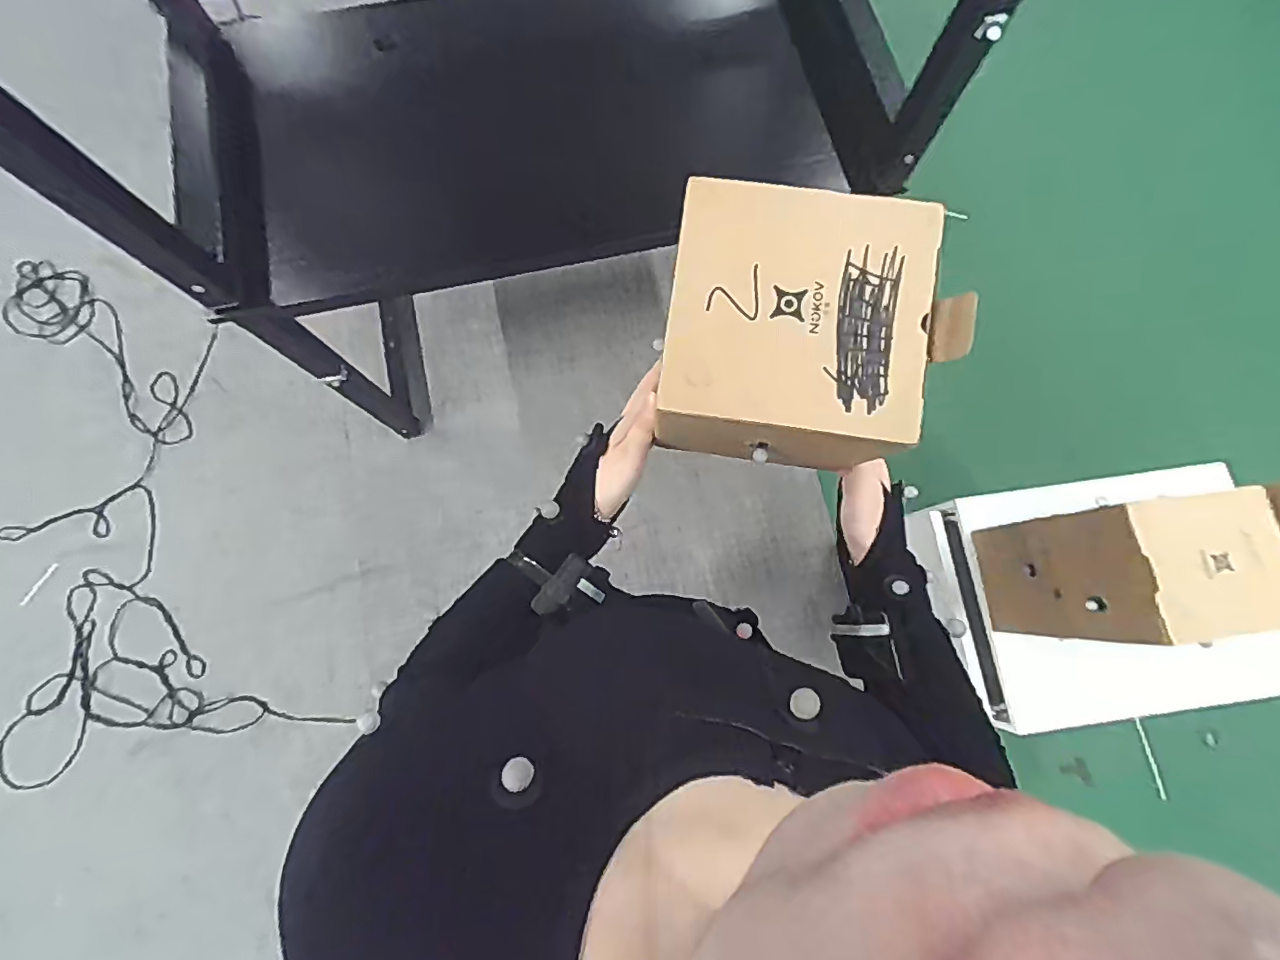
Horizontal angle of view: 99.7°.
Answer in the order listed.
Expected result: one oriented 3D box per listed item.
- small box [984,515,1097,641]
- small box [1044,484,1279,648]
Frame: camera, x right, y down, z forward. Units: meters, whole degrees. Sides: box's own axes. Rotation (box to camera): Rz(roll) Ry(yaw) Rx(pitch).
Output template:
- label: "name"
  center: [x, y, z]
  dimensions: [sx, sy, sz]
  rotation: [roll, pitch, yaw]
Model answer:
- label: "small box"
  center: [0.672, 0.148, 0.836]
  dimensions: [0.168, 0.176, 0.179]
  rotation: [-5, 78, -2]
- label: "small box"
  center: [0.654, 0.110, 0.679]
  dimensions: [0.179, 0.176, 0.168]
  rotation: [-8, 79, -3]
